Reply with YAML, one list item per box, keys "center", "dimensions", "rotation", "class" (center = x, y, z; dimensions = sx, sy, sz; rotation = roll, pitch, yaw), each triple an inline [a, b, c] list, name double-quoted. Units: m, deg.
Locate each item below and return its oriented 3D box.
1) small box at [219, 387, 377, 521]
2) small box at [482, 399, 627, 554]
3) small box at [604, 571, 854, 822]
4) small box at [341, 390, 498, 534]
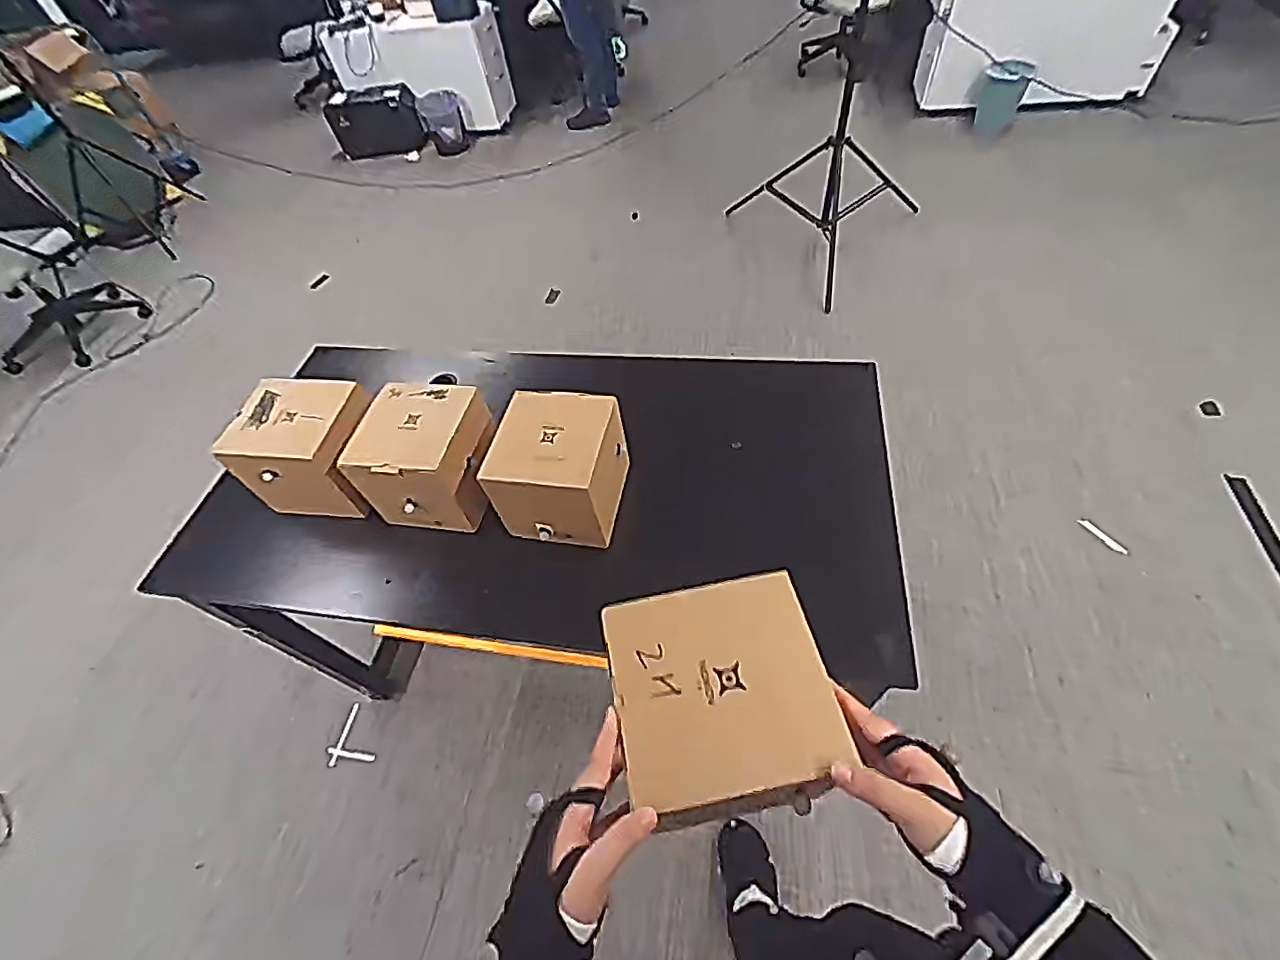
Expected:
- center: [-0.553, -0.042, 0.935]
  dimensions: [0.179, 0.176, 0.168]
  rotation: [3, 54, 8]
  class: "small box"
- center: [-0.121, -0.006, 0.856]
  dimensions: [0.168, 0.176, 0.179]
  rotation: [4, 55, 12]
  class: "small box"
- center: [0.070, 0.209, 0.513]
  dimensions: [0.179, 0.176, 0.168]
  rotation: [-11, 53, -3]
  class: "small box"
- center: [-0.342, -0.026, 0.898]
  dimensions: [0.168, 0.176, 0.179]
  rotation: [4, 55, 11]
  class: "small box"
